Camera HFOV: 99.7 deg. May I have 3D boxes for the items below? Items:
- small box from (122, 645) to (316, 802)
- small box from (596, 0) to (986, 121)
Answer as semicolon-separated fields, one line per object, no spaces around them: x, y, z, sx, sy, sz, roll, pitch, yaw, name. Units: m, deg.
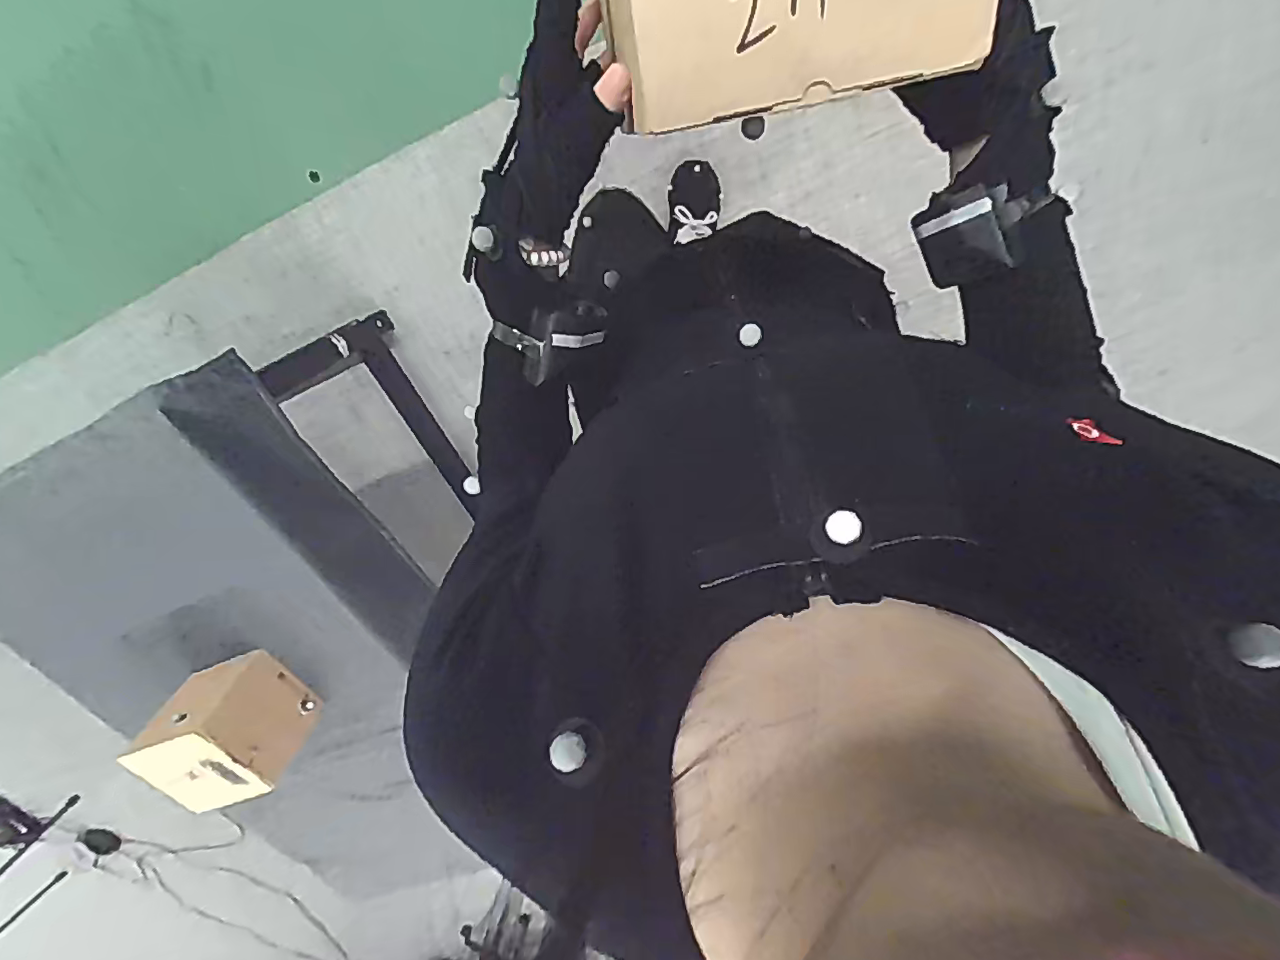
-0.702;0.414;0.933;0.179;0.176;0.168;-21;117;14;small box
0.056;-0.298;0.273;0.168;0.176;0.179;-12;125;1;small box
